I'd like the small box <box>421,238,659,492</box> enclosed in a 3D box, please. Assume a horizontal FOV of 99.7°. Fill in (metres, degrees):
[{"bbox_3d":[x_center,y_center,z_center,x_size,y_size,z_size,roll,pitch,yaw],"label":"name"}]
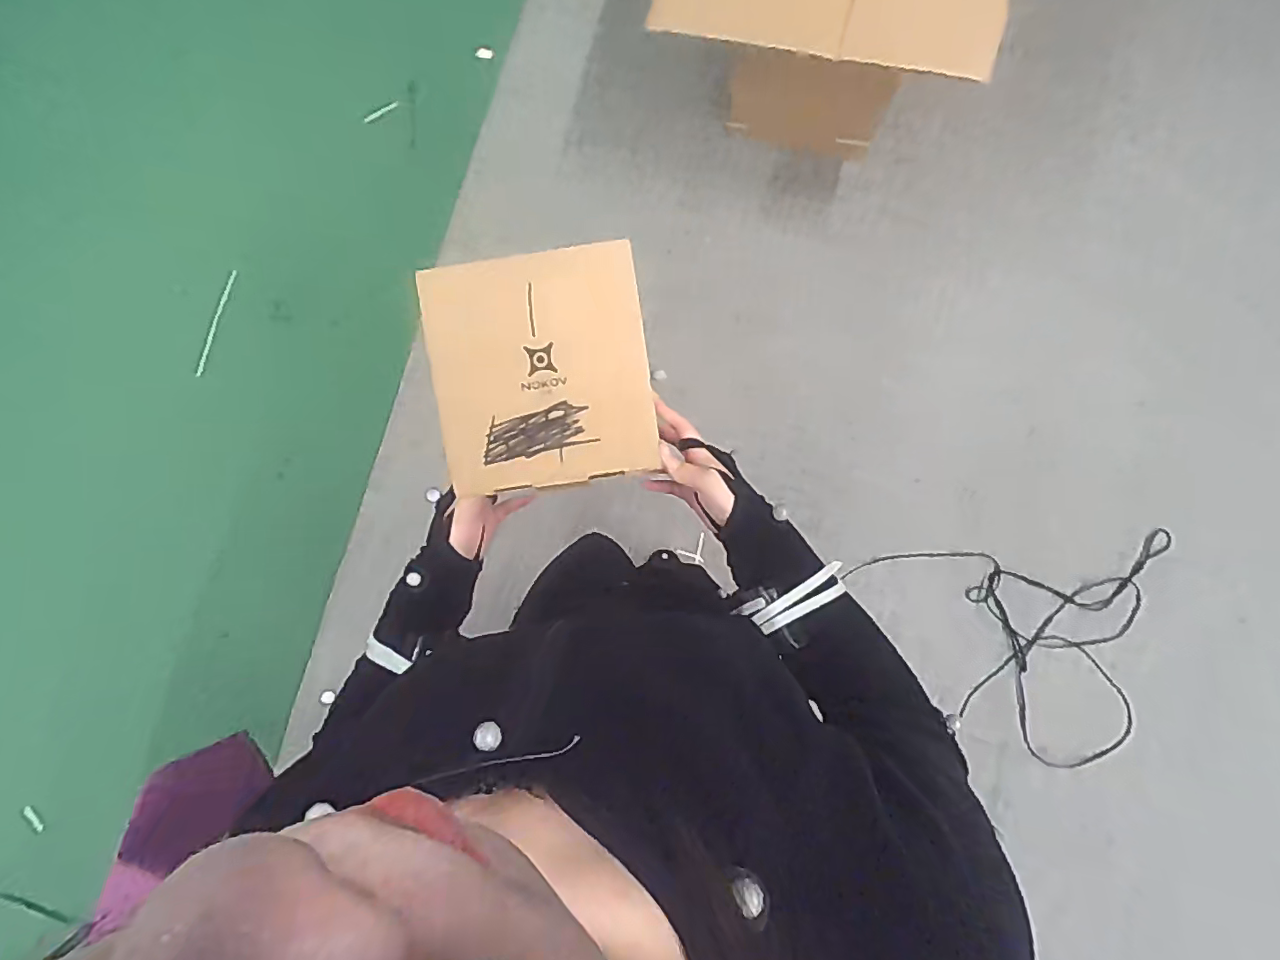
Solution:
[{"bbox_3d":[-0.072,-0.093,0.492,0.168,0.176,0.179,-8,94,2],"label":"small box"}]
